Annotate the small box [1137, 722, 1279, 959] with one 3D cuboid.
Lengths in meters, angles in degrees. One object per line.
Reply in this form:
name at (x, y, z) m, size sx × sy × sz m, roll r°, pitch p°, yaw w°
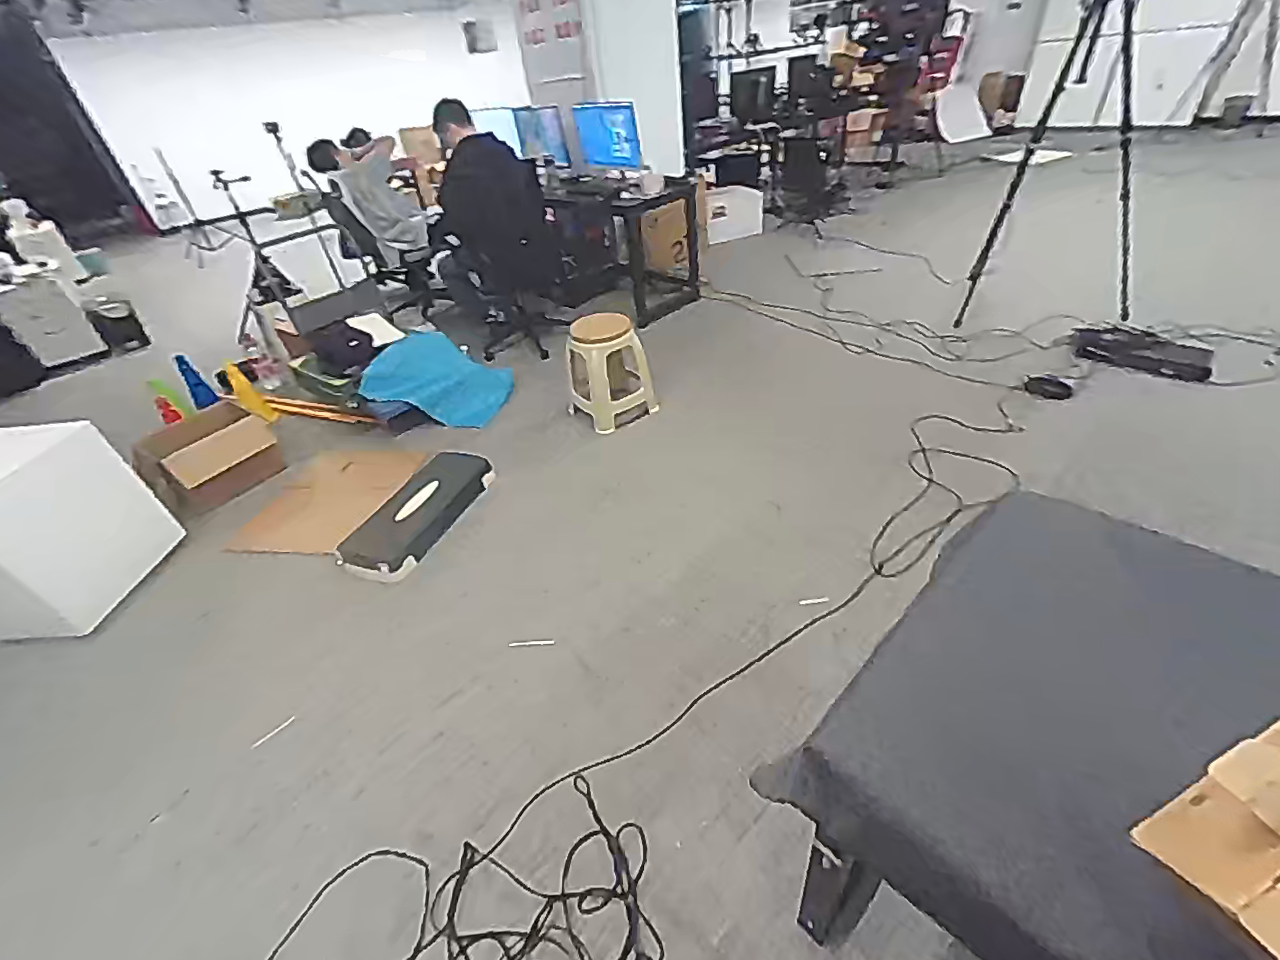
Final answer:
small box at (0.509, 0.288, 0.362) m, size 0.168 × 0.176 × 0.179 m, roll -43°, pitch 60°, yaw 5°
